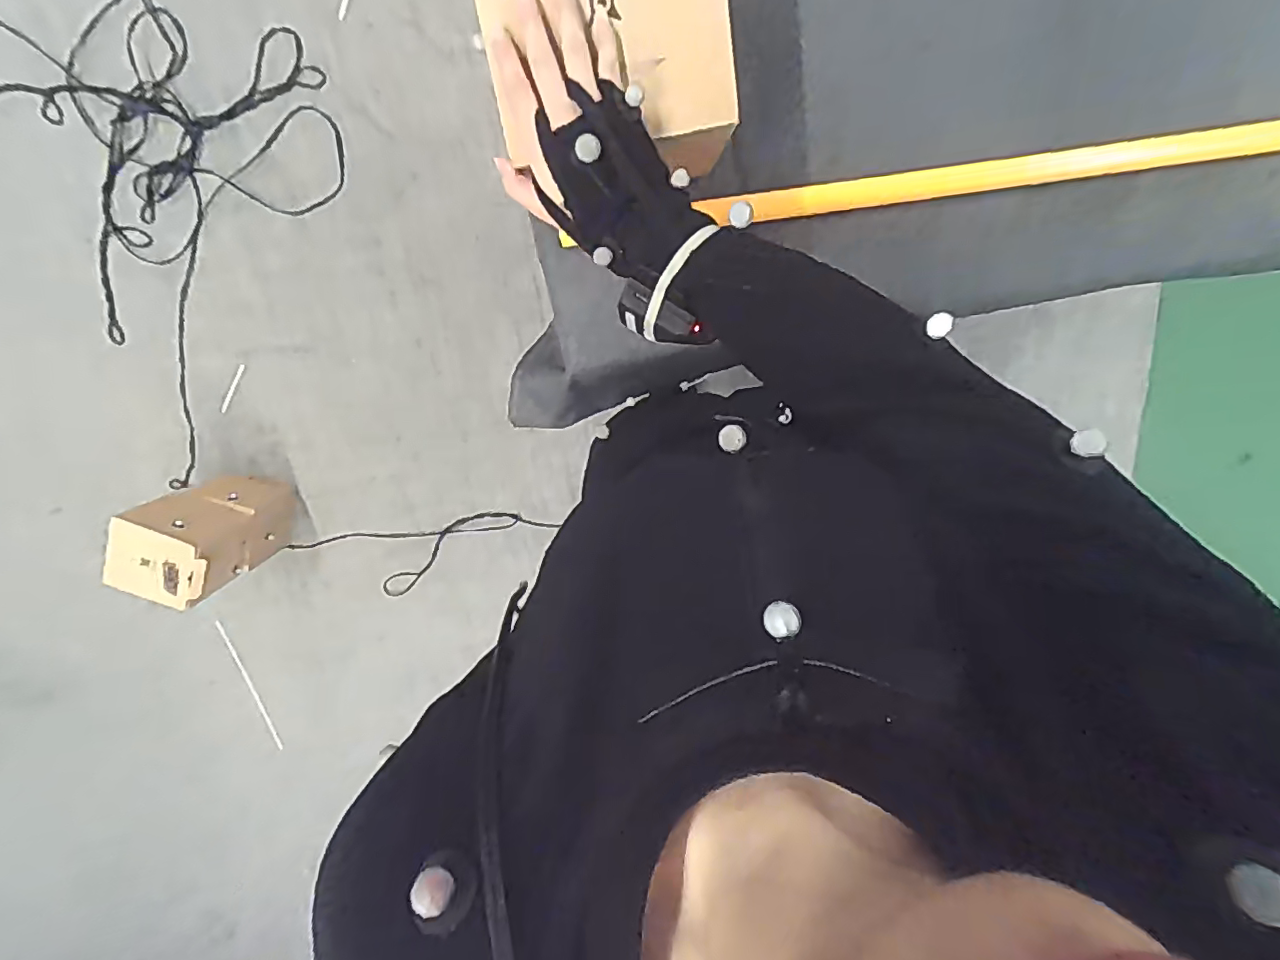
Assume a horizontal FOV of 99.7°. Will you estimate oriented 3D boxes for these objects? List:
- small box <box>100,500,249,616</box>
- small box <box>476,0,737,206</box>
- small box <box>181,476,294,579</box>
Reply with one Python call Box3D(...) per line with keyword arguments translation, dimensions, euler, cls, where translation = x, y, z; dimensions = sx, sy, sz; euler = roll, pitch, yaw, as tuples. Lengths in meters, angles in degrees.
Box3D(translation=(-1.004, 0.161, 1.180), dimensions=(0.179, 0.176, 0.168), euler=(22, 105, -6), cls="small box")
Box3D(translation=(-0.026, -0.339, 0.430), dimensions=(0.168, 0.176, 0.179), euler=(-9, 108, 4), cls="small box")
Box3D(translation=(-0.992, 0.112, 1.337), dimensions=(0.168, 0.176, 0.179), euler=(17, 107, -5), cls="small box")
